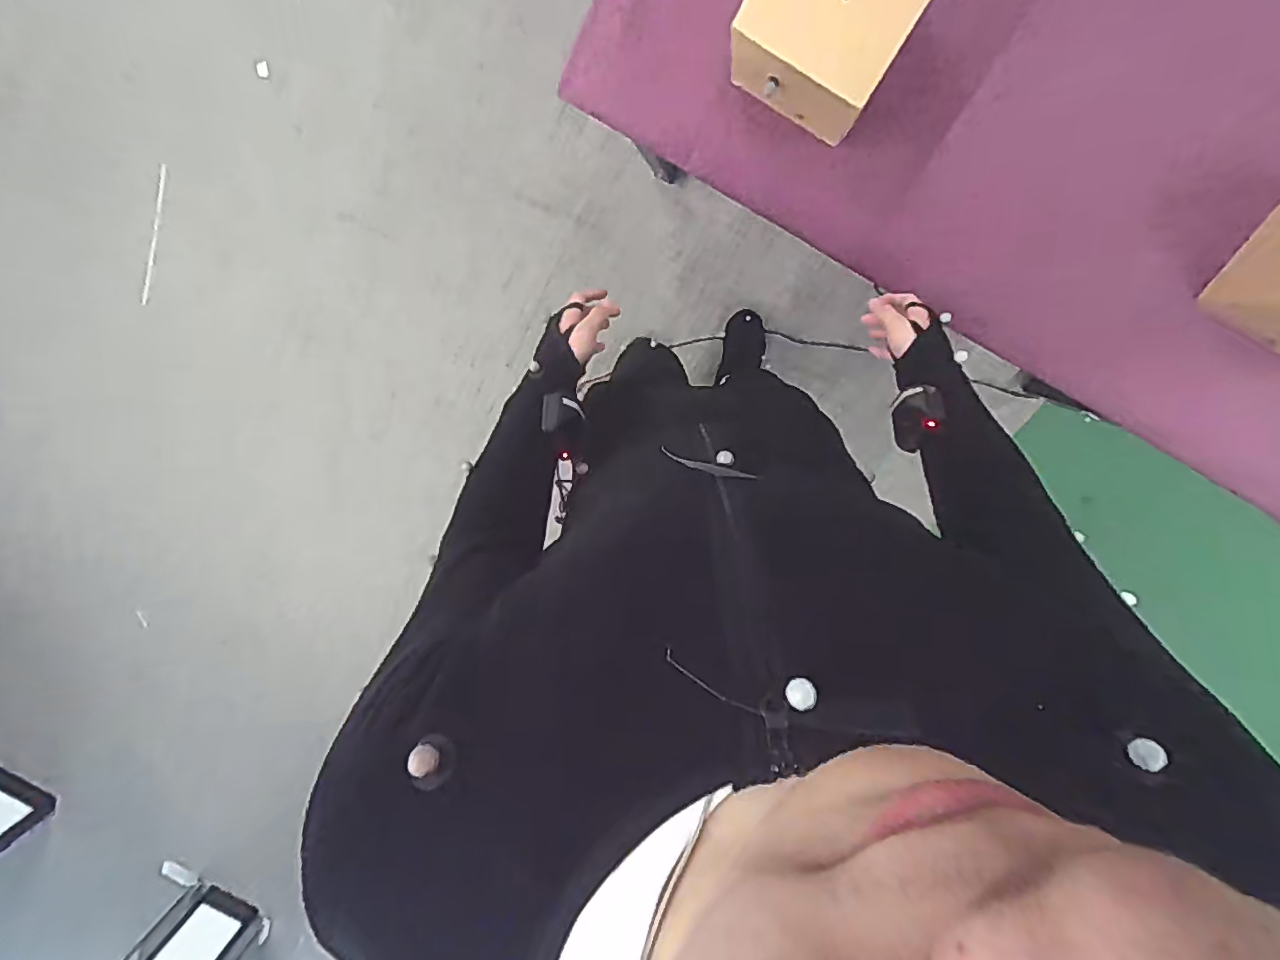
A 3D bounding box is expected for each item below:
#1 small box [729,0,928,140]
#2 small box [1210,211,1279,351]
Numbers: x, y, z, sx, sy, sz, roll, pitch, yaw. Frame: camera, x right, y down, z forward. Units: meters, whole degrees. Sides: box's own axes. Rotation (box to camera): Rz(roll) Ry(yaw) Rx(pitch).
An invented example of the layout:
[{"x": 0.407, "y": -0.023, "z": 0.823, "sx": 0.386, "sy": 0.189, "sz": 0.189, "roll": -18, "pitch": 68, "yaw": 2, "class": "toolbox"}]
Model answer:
[{"x": 0.218, "y": -0.526, "z": 0.610, "sx": 0.168, "sy": 0.176, "sz": 0.179, "roll": 31, "pitch": 110, "yaw": -1, "class": "small box"}, {"x": 0.824, "y": -0.239, "z": 0.599, "sx": 0.168, "sy": 0.176, "sz": 0.179, "roll": 29, "pitch": 110, "yaw": 1, "class": "small box"}]
